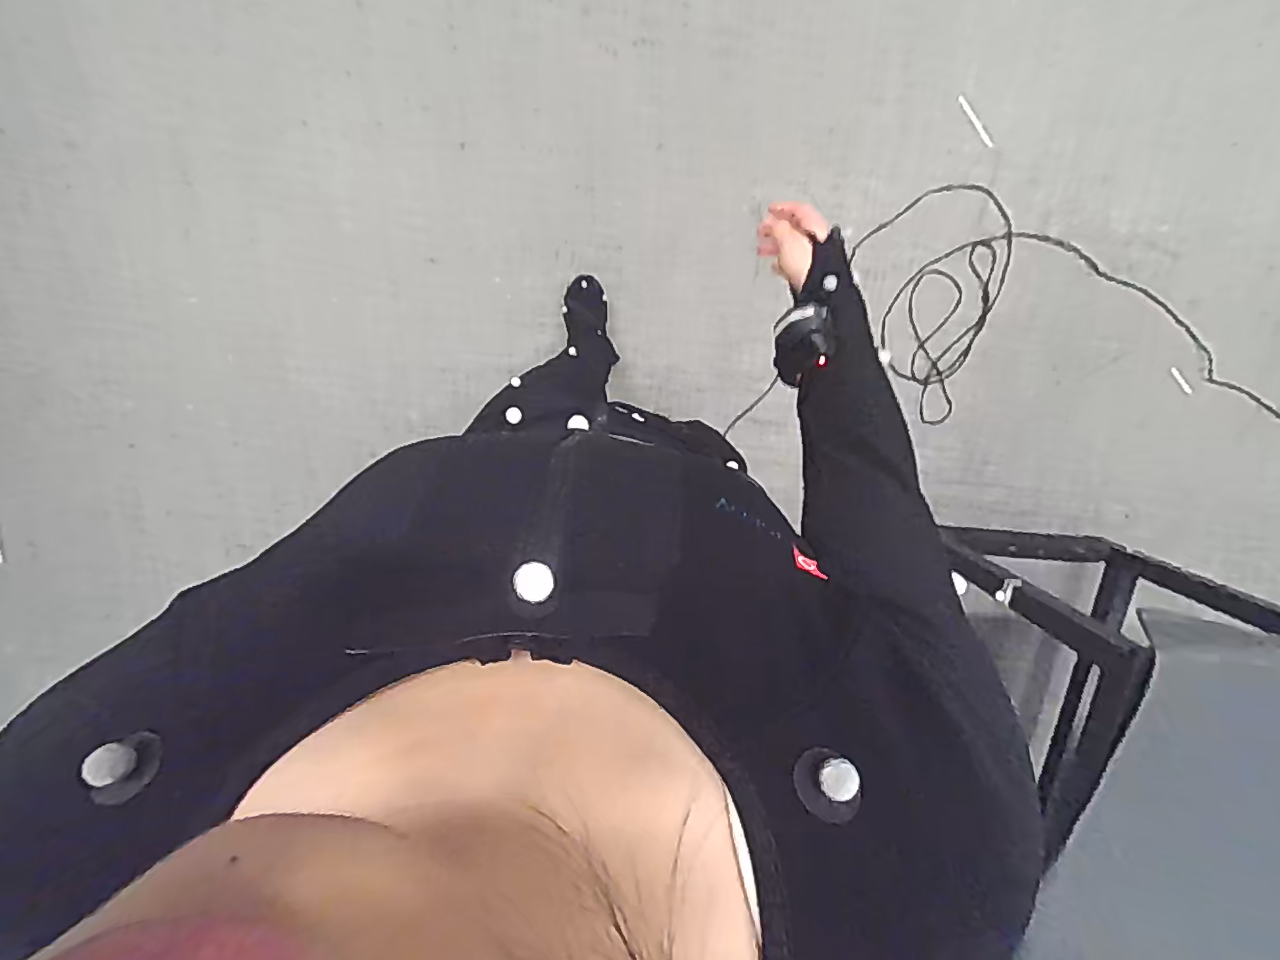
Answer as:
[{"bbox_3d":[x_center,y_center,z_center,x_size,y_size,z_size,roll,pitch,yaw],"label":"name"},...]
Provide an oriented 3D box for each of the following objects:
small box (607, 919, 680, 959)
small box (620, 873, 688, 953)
[{"bbox_3d":[0.009,1.423,1.547,0.168,0.176,0.179,43,99,-8],"label":"small box"},{"bbox_3d":[0.037,1.397,1.708,0.168,0.176,0.179,22,102,-5],"label":"small box"}]
